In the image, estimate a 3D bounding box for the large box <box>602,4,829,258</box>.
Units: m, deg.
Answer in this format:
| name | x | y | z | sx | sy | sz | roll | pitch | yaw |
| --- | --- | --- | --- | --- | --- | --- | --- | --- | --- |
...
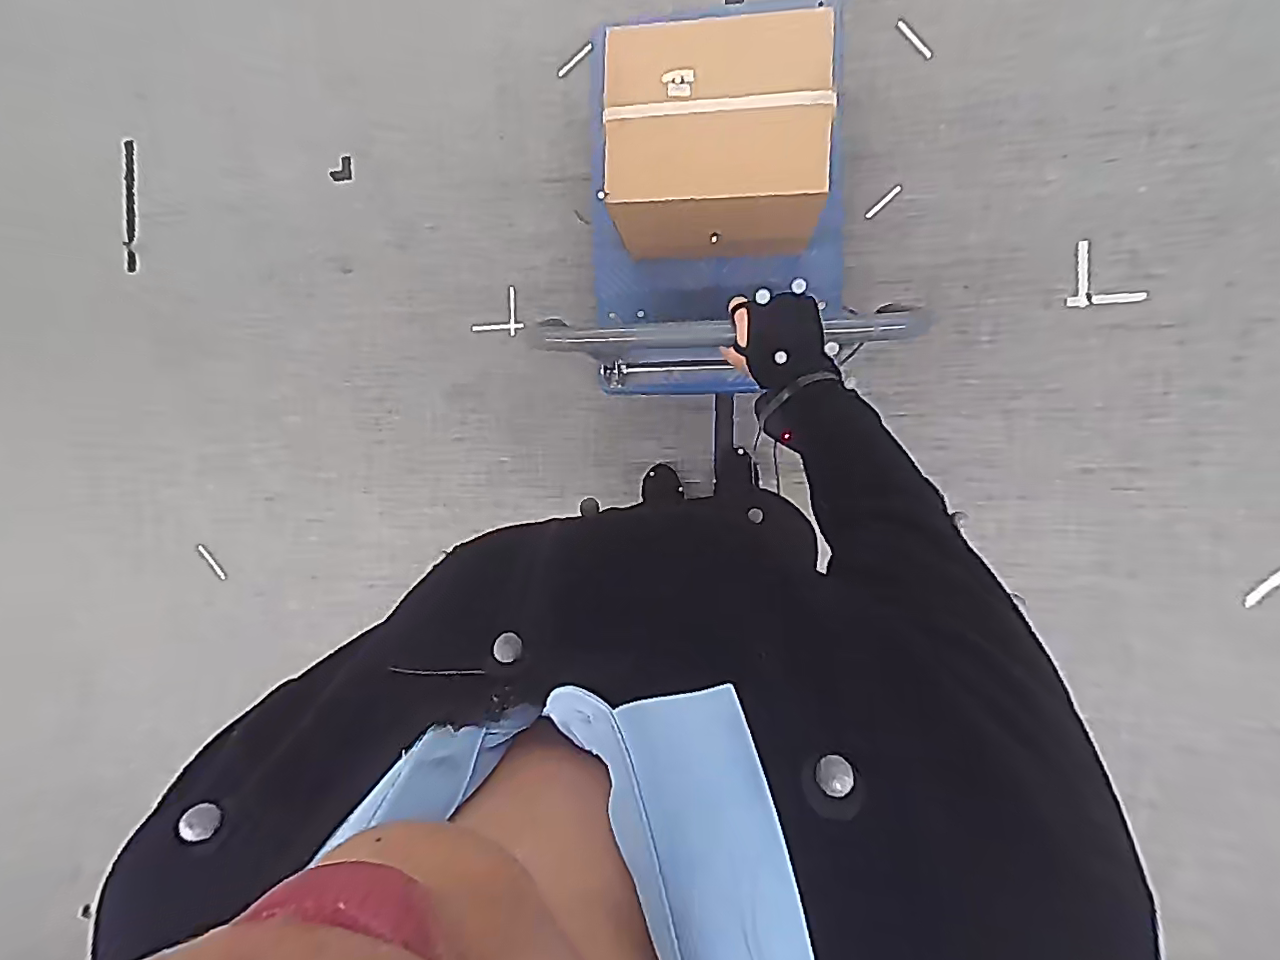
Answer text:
| name | x | y | z | sx | sy | sz | roll | pitch | yaw |
| --- | --- | --- | --- | --- | --- | --- | --- | --- | --- |
| large box | 0.153 | -0.669 | 1.105 | 0.408 | 0.320 | 0.320 | 1 | 92 | 9 |
